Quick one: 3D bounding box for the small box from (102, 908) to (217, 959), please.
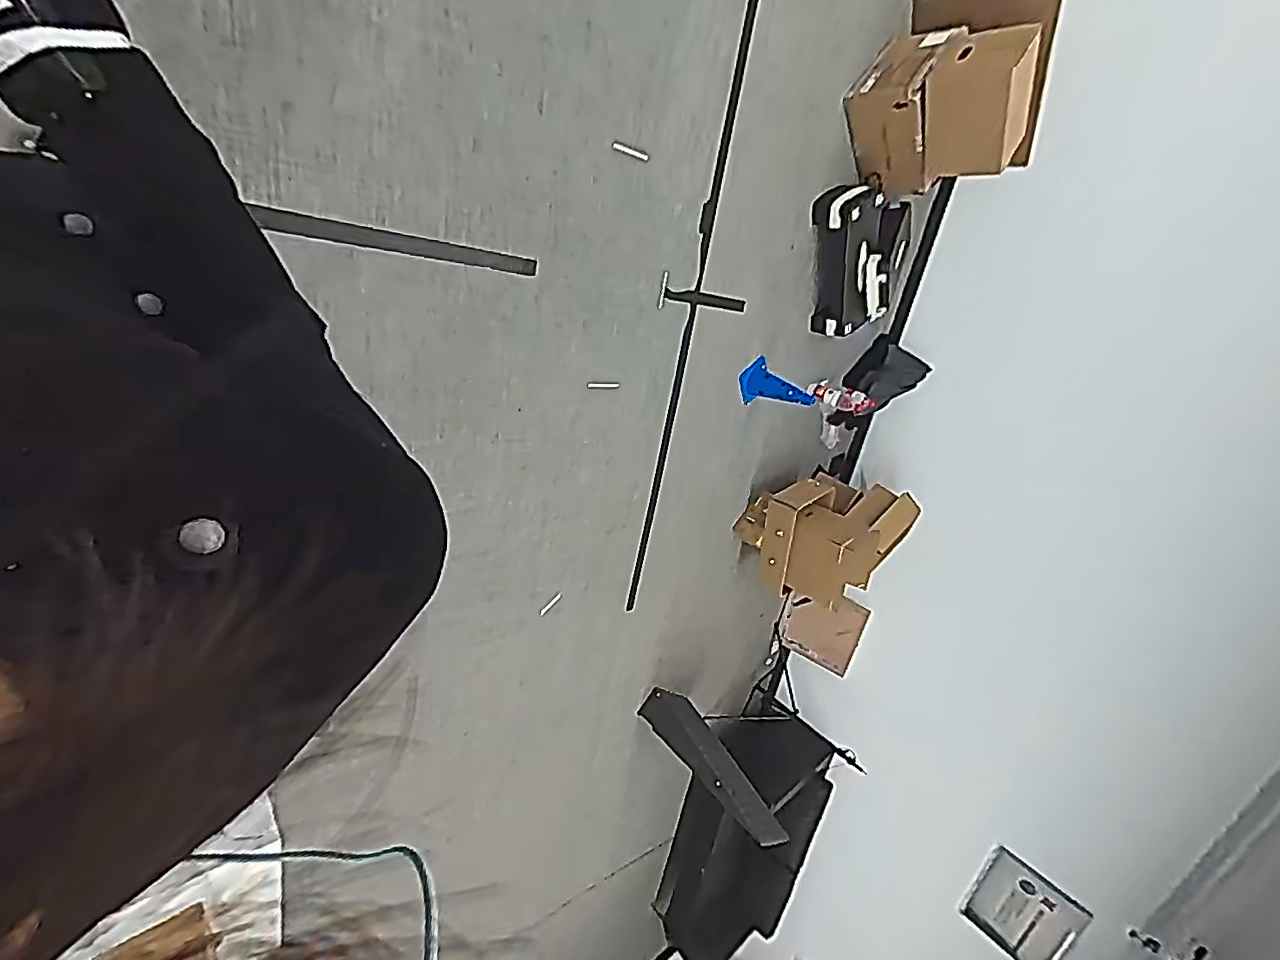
[{"bbox_3d":[-0.978,1.040,1.103,0.179,0.176,0.168,-14,122,-39],"label":"small box"}]
